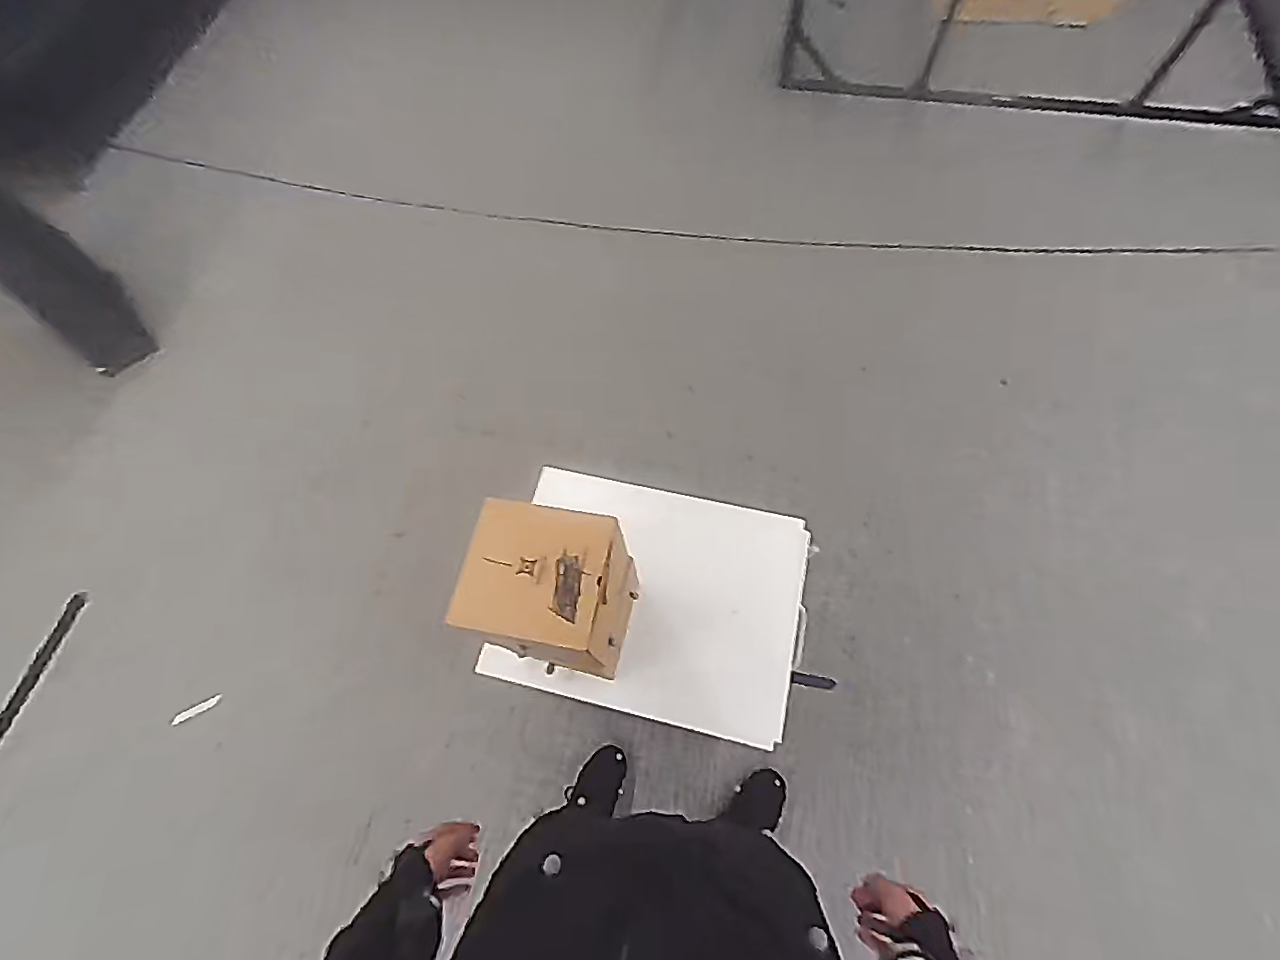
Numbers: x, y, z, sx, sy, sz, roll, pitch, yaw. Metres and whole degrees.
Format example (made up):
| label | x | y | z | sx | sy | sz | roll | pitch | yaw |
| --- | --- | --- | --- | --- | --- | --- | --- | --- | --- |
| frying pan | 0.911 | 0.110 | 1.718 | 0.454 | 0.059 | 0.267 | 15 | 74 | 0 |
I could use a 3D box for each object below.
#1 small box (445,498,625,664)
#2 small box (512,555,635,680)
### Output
| label | x | y | z | sx | sy | sz | roll | pitch | yaw |
| --- | --- | --- | --- | --- | --- | --- | --- | --- | --- |
| small box | -0.122 | 0.142 | 0.719 | 0.179 | 0.176 | 0.168 | 8 | 66 | 8 |
| small box | -0.108 | 0.209 | 0.868 | 0.168 | 0.176 | 0.179 | 13 | 67 | 9 |
